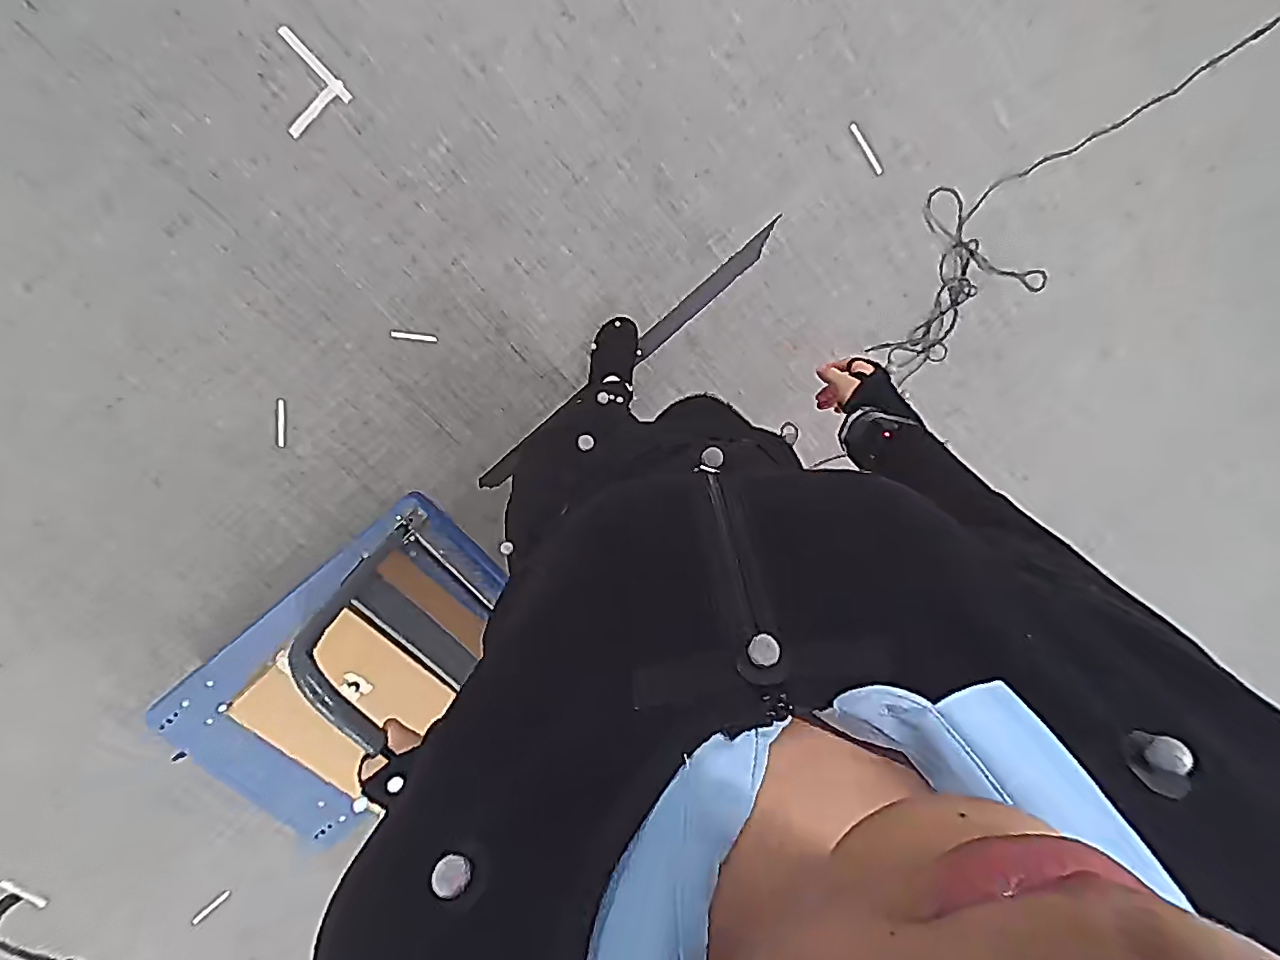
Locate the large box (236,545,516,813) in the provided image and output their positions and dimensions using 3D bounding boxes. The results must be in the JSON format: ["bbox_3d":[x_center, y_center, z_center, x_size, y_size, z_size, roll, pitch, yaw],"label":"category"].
[{"bbox_3d":[-0.537,0.420,1.199,0.320,0.320,0.408,-43,105,3],"label":"large box"}]
